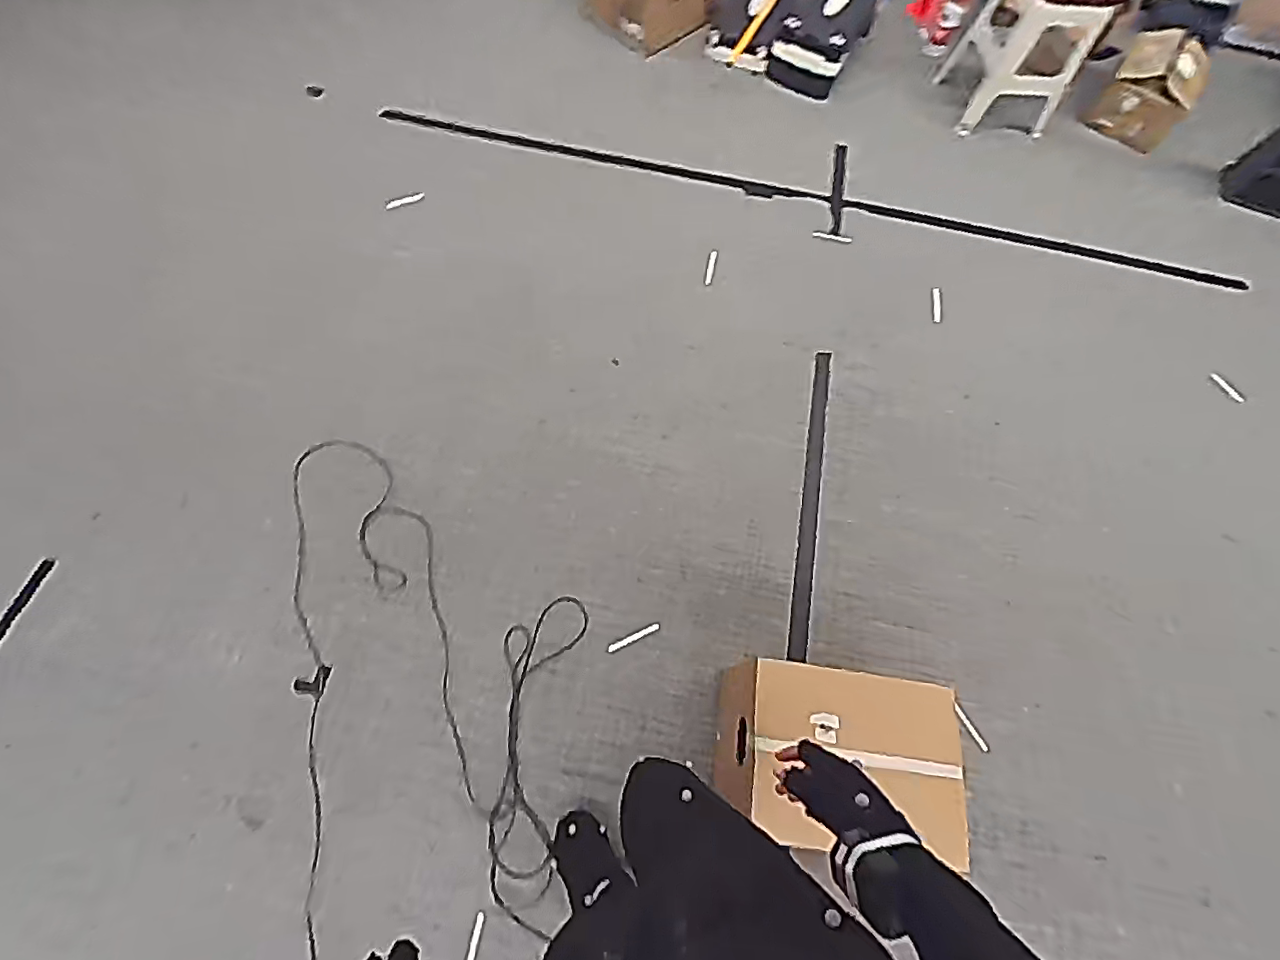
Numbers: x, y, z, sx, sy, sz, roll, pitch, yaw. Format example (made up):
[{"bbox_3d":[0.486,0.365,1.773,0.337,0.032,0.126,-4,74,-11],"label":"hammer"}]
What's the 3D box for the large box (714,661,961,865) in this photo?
[{"bbox_3d":[0.393,0.586,1.164,0.408,0.320,0.320,8,66,-1],"label":"large box"}]
